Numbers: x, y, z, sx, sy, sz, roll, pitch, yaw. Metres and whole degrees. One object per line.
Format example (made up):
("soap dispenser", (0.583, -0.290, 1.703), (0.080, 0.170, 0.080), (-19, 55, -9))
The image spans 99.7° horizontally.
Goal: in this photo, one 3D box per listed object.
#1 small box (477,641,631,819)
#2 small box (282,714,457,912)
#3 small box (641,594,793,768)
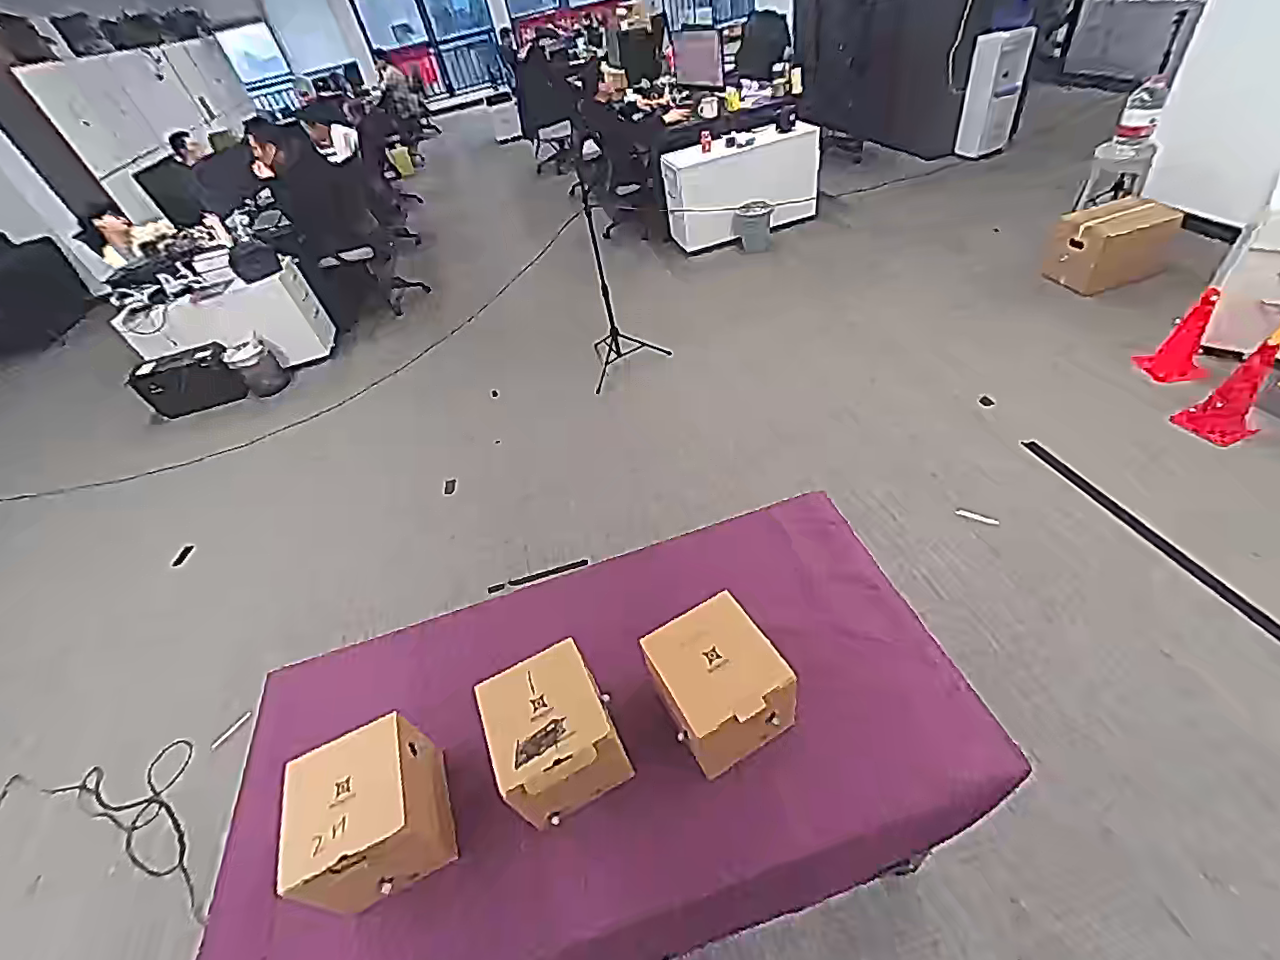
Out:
("small box", (-0.129, 0.393, 0.840), (0.168, 0.176, 0.179), (-25, 43, -12))
("small box", (-0.391, 0.493, 0.803), (0.168, 0.176, 0.179), (-24, 44, -10))
("small box", (0.123, 0.322, 0.852), (0.168, 0.176, 0.179), (-26, 44, -13))
